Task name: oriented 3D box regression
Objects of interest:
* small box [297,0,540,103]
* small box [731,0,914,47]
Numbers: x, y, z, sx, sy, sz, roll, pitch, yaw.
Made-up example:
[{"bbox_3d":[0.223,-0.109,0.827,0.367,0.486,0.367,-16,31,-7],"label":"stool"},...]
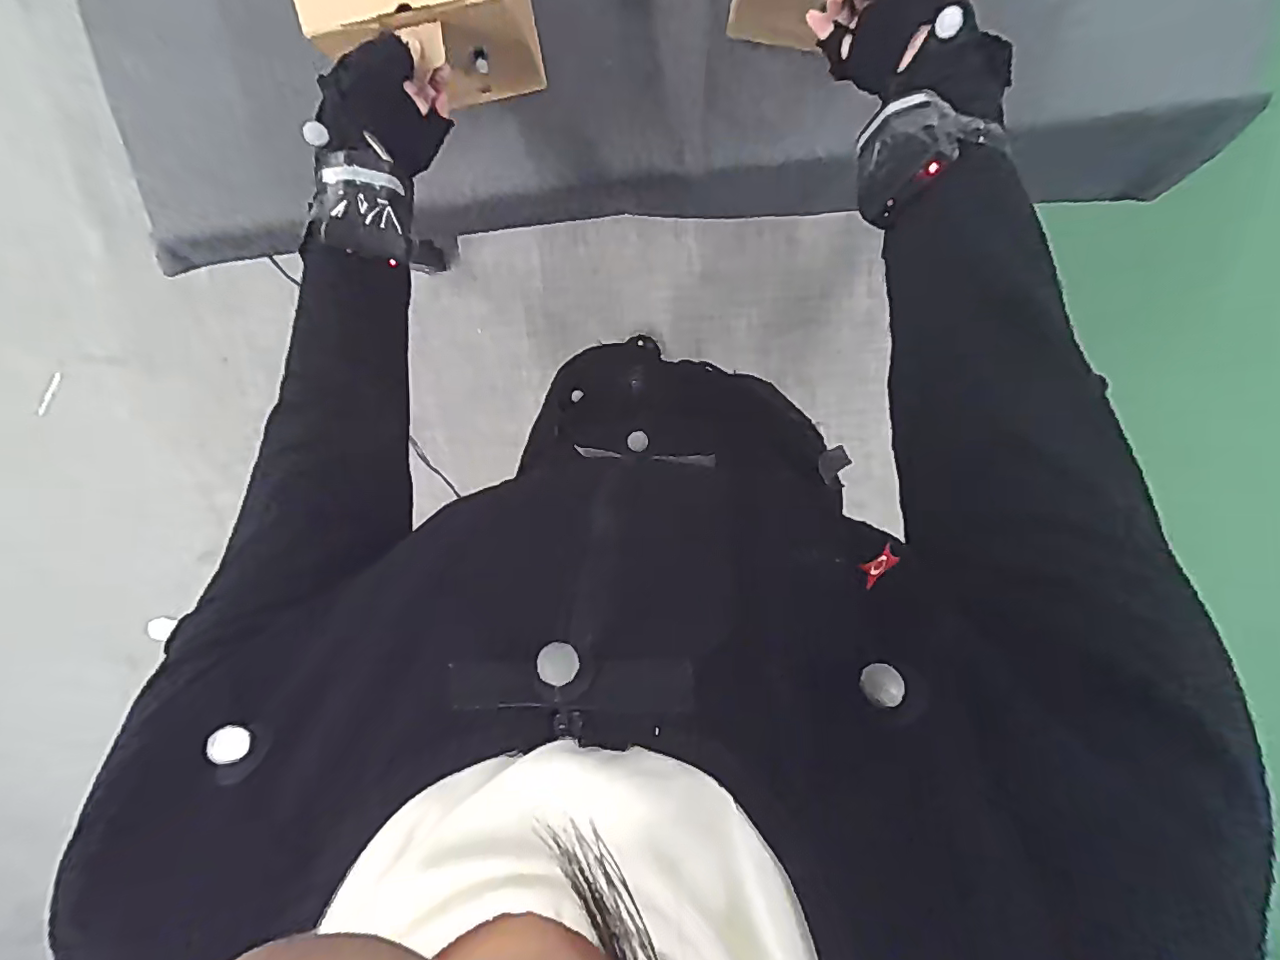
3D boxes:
[{"bbox_3d":[-0.196,-0.467,0.476,0.168,0.176,0.179,-10,103,3],"label":"small box"},{"bbox_3d":[0.176,-0.509,0.456,0.168,0.176,0.179,7,107,-1],"label":"small box"}]
